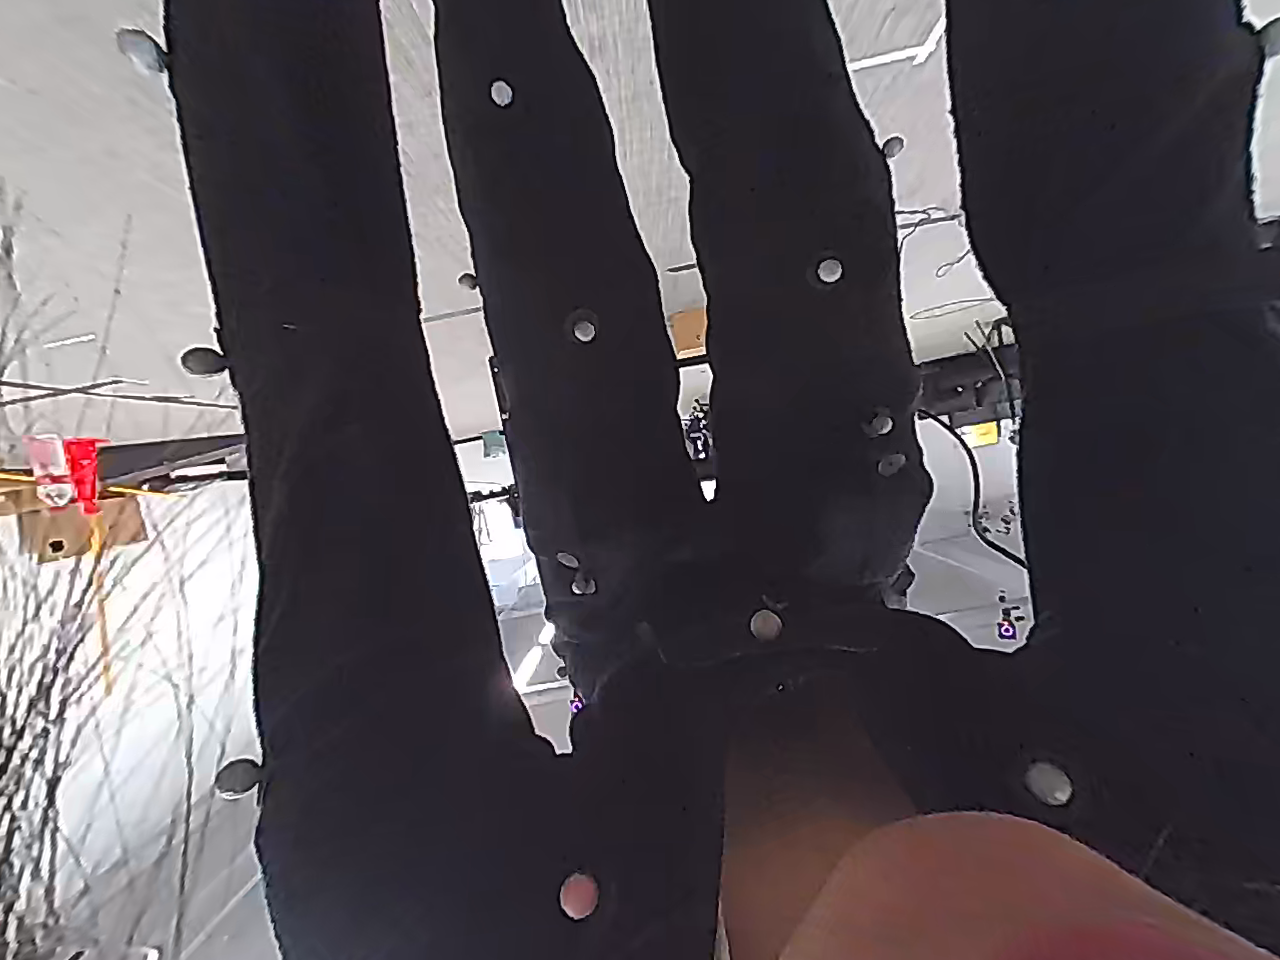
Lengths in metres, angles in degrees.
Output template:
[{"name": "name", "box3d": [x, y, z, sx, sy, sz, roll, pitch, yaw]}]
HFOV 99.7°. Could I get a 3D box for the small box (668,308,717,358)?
[{"name": "small box", "box3d": [0.230, -0.654, 2.394, 0.179, 0.176, 0.168, -10, -179, 0]}]
